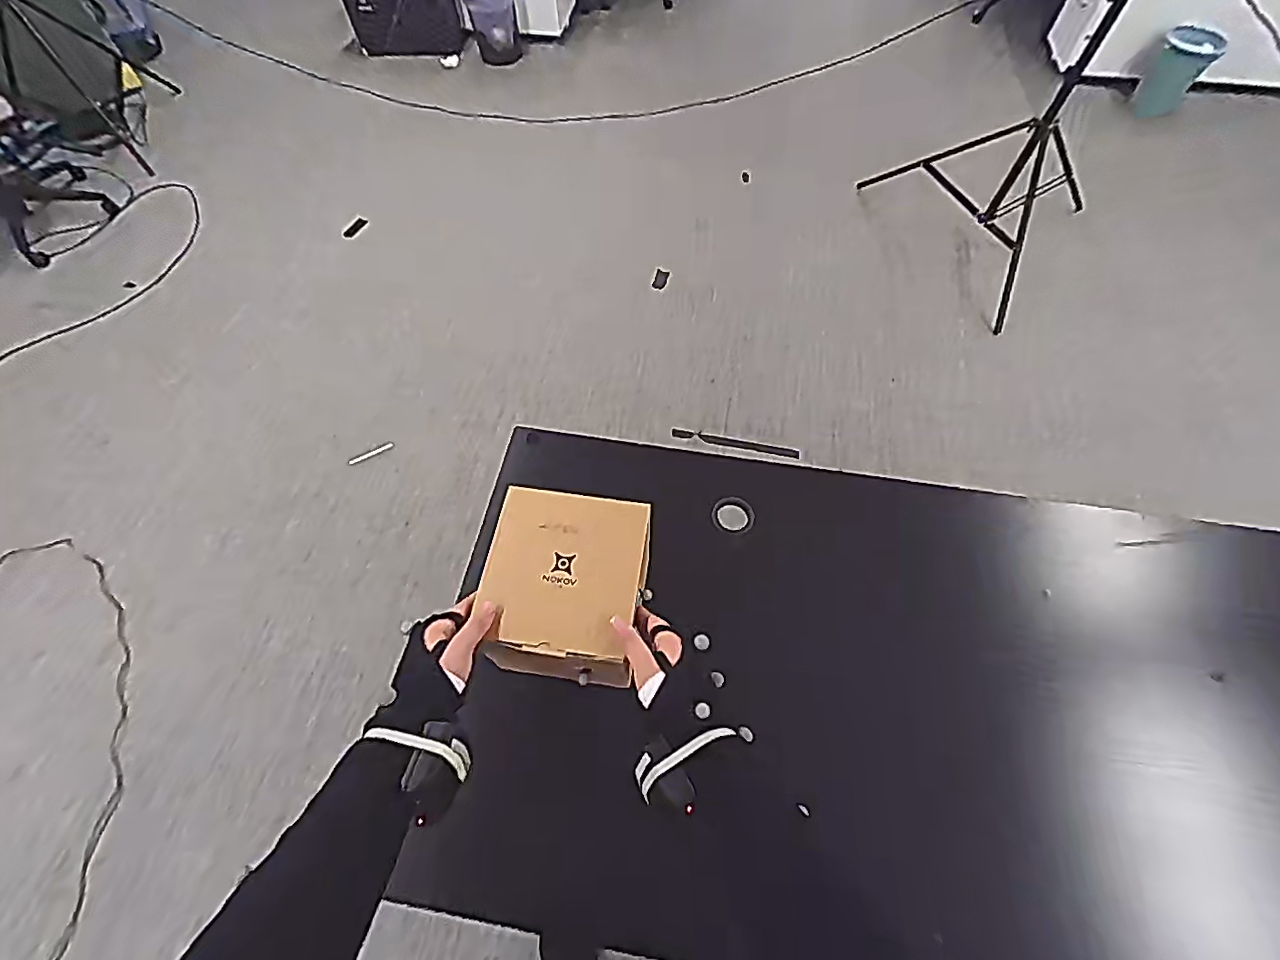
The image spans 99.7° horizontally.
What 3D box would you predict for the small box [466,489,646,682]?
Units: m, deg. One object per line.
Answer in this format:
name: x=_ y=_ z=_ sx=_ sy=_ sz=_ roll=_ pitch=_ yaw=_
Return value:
small box: x=-0.085 y=0.134 z=0.648 sx=0.168 sy=0.176 sz=0.179 roll=7 pitch=61 yaw=3
